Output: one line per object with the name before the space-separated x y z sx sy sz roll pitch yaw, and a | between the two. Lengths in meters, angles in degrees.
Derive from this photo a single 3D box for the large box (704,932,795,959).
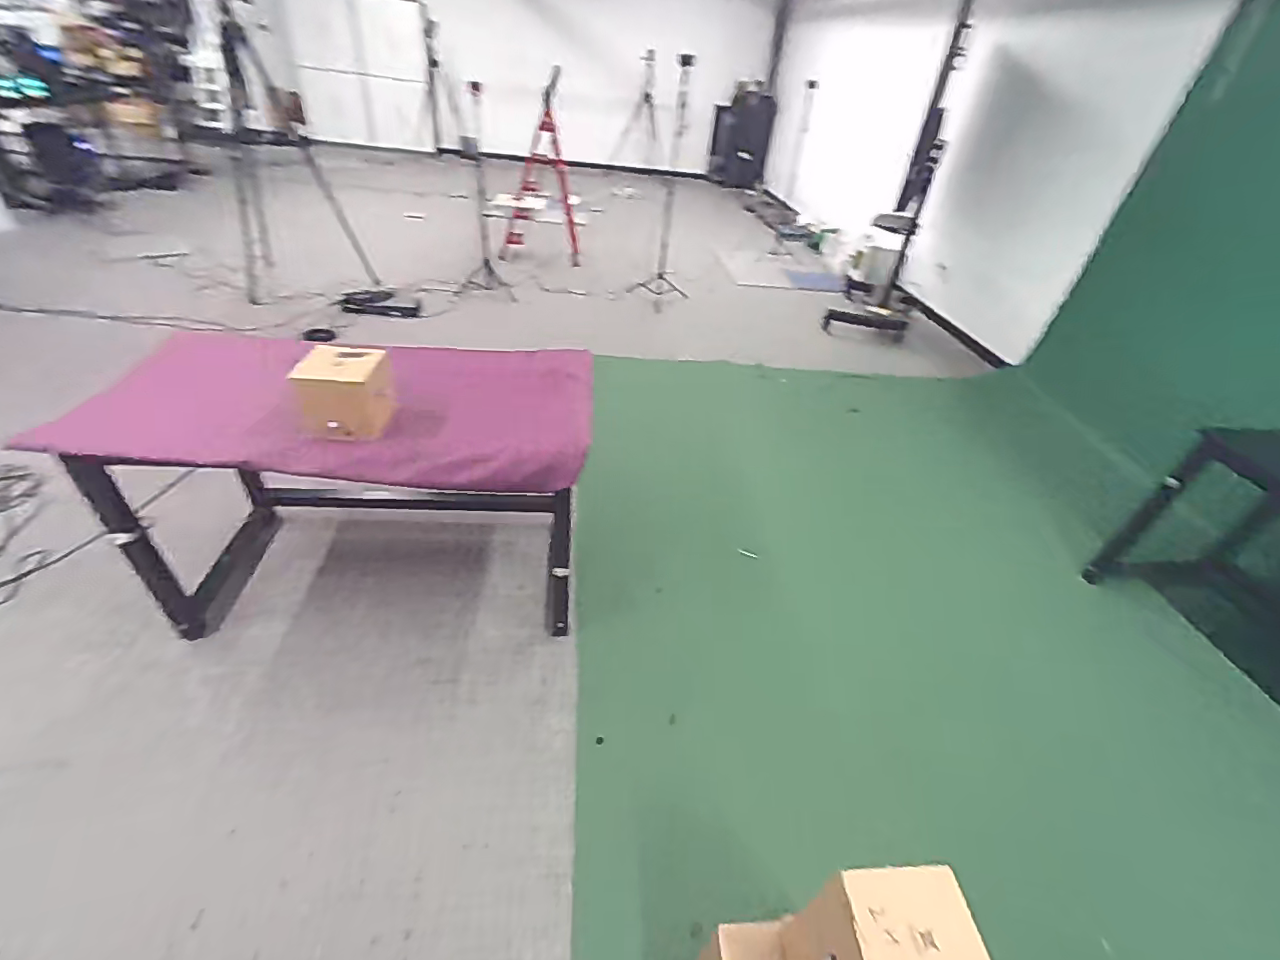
large box | 0.289 1.064 0.927 0.320 0.320 0.408 2 38 -5

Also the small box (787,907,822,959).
small box | 0.358 0.811 0.869 0.179 0.176 0.168 3 38 -5

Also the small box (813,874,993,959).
small box | 0.372 0.682 0.766 0.179 0.176 0.168 3 38 -6

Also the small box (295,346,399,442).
small box | -0.712 -0.213 1.340 0.168 0.176 0.179 3 38 -6
